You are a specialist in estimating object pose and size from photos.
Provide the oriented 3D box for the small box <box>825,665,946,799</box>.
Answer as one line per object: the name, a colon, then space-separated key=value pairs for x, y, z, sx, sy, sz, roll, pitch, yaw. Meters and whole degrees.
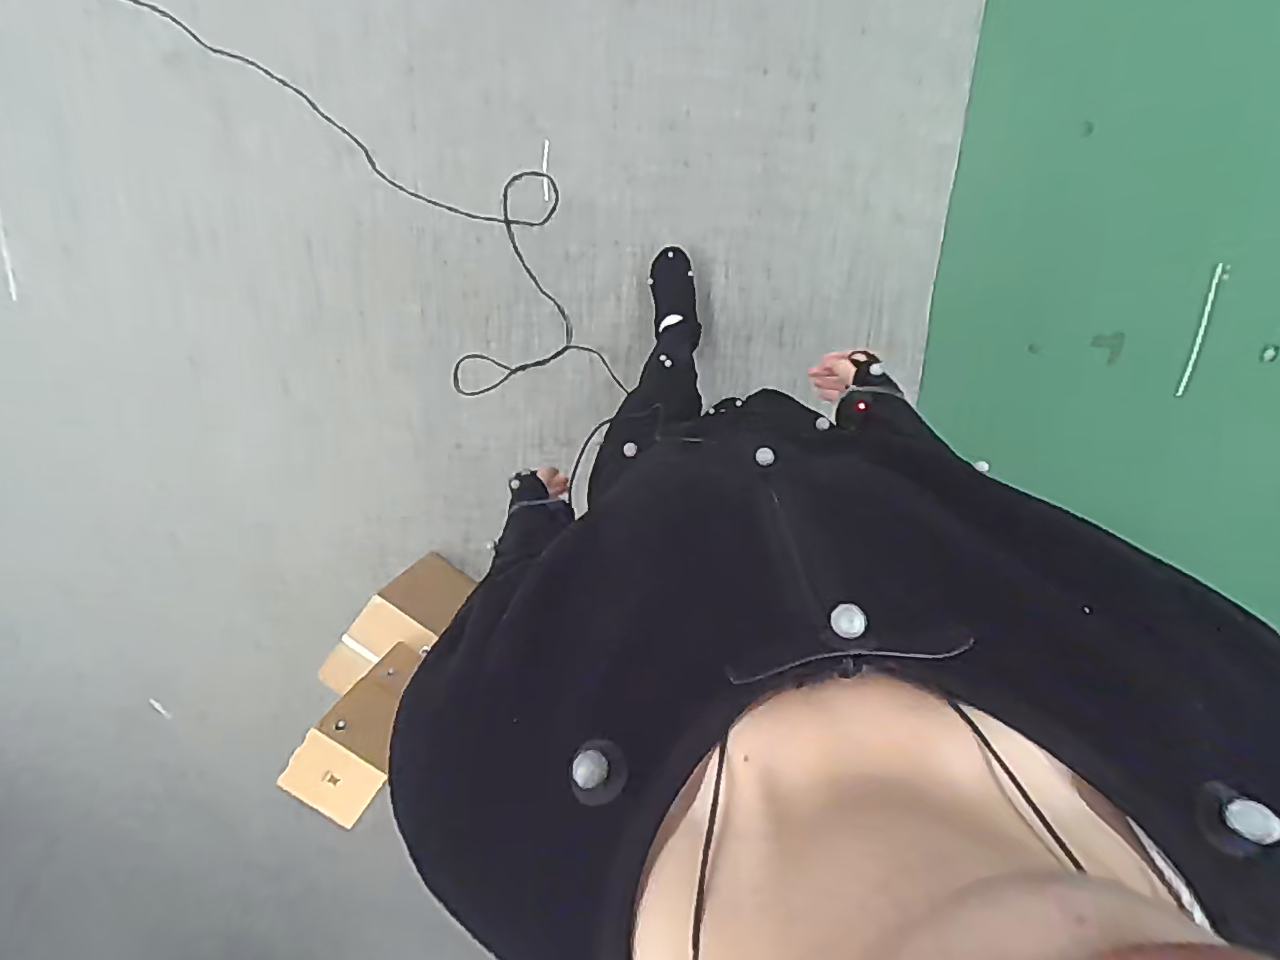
small box: x=0.454 y=0.465 z=1.022 sx=0.168 sy=0.176 sz=0.179 roll=-4 pitch=102 yaw=5

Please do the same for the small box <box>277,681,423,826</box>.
small box: x=-0.590 y=0.558 z=1.124 sx=0.179 sy=0.176 sz=0.168 roll=36 pitch=103 yaw=-3

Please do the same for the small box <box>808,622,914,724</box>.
small box: x=0.476 y=0.424 z=1.179 sx=0.179 sy=0.176 sz=0.168 roll=-6 pitch=101 yaw=6
